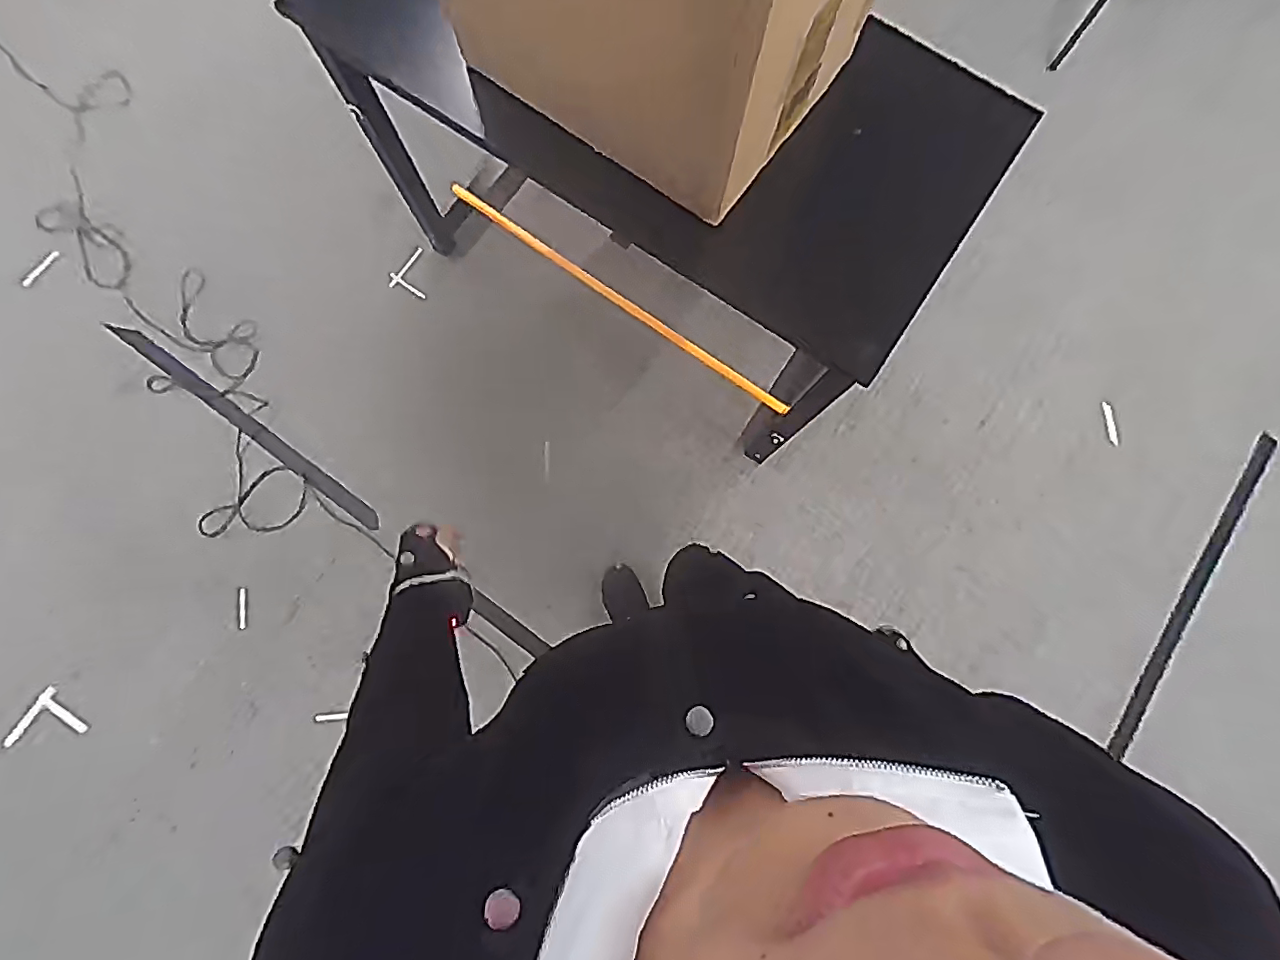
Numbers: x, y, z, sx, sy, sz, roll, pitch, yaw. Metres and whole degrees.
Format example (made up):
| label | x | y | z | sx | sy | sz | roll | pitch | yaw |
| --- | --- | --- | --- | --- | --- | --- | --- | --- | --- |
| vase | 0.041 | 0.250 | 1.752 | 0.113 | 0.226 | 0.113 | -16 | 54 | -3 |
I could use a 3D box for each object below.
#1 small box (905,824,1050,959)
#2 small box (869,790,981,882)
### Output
| label | x | y | z | sx | sy | sz | roll | pitch | yaw |
| --- | --- | --- | --- | --- | --- | --- | --- | --- | --- |
| small box | 0.716 | 0.885 | 1.162 | 0.179 | 0.176 | 0.168 | 27 | 80 | 3 |
| small box | 0.703 | 0.903 | 1.326 | 0.179 | 0.176 | 0.168 | 31 | 80 | 5 |
